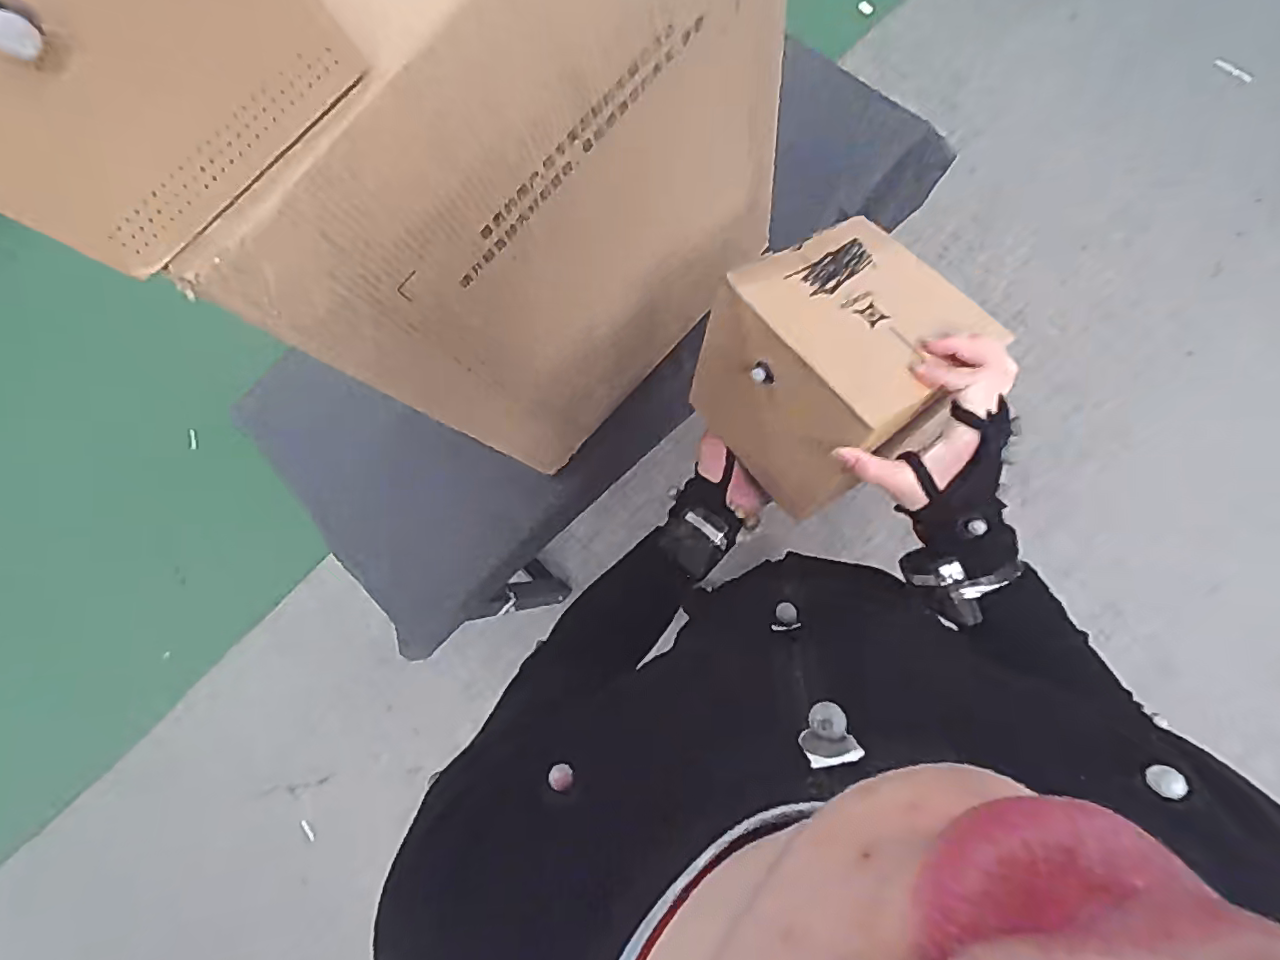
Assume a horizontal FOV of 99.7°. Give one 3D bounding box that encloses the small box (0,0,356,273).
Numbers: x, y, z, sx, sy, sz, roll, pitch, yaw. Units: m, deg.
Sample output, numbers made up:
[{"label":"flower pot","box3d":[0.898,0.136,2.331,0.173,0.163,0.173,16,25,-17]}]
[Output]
[{"label":"small box","box3d":[-0.275,-0.231,0.237,0.179,0.176,0.168,-43,78,2]}]
